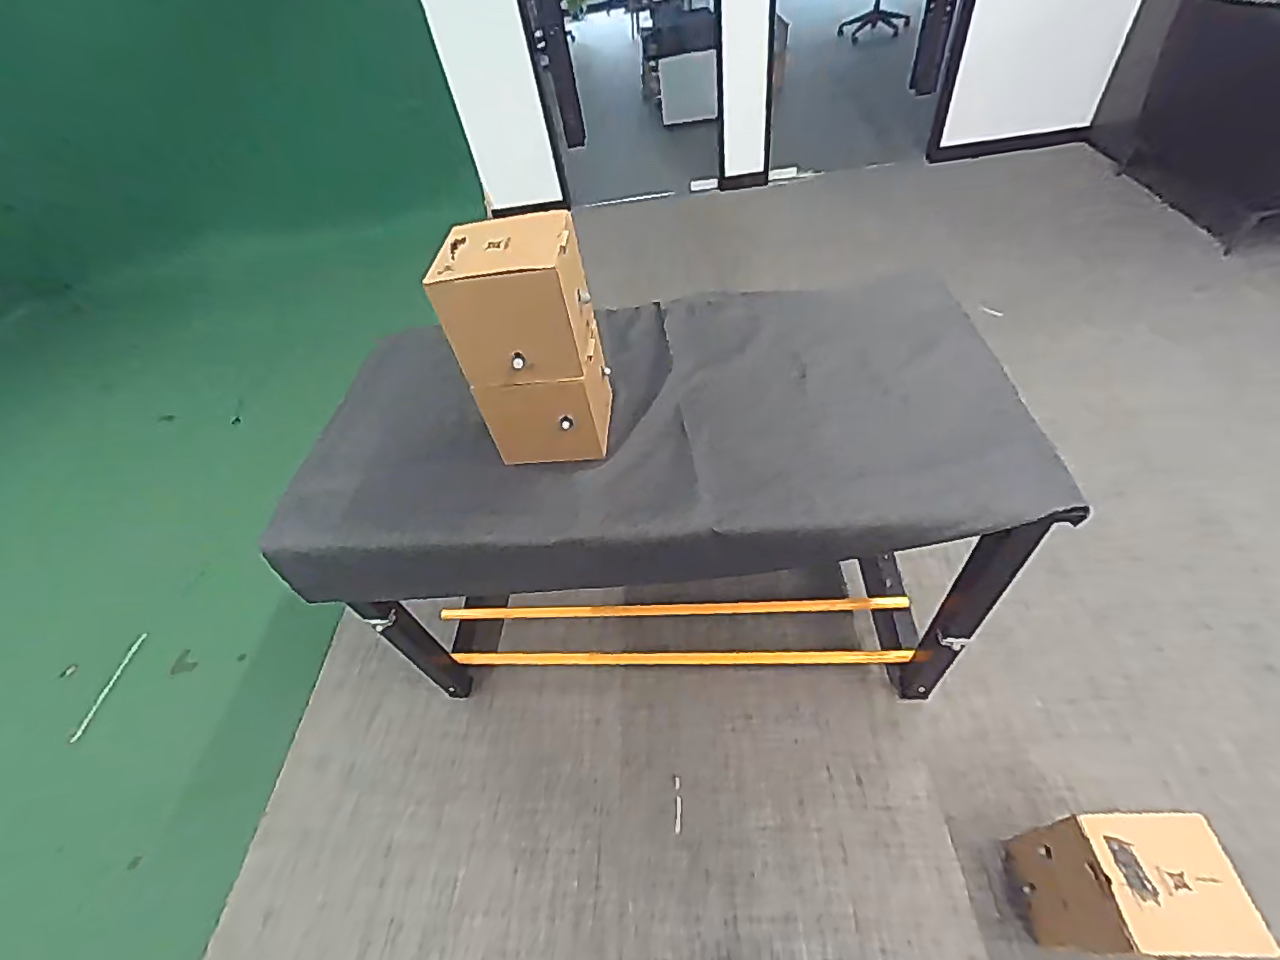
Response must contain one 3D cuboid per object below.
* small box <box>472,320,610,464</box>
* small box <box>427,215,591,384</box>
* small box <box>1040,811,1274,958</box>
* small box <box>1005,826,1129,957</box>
[{"bbox_3d":[-0.150,-0.143,0.900,0.179,0.176,0.168,-4,47,7],"label":"small box"},{"bbox_3d":[-0.173,-0.257,0.784,0.179,0.176,0.168,-4,47,6],"label":"small box"},{"bbox_3d":[0.754,0.616,0.823,0.179,0.176,0.168,-4,48,6],"label":"small box"},{"bbox_3d":[0.789,0.720,0.946,0.179,0.176,0.168,-3,48,8],"label":"small box"}]
